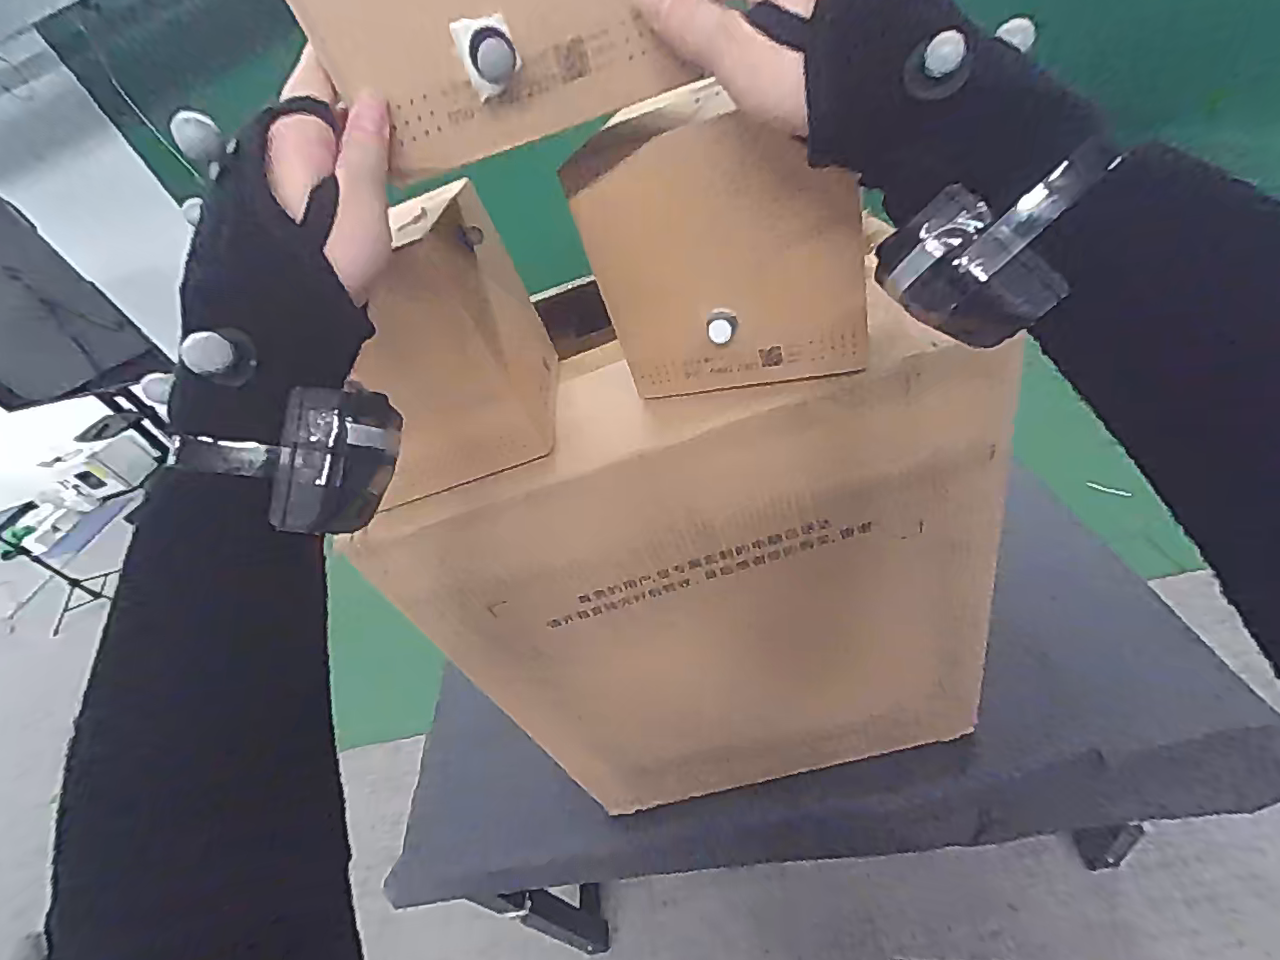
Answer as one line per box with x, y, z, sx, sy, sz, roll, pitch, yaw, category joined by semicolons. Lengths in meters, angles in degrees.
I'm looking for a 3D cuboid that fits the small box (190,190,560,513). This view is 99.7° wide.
-0.183;-0.099;0.437;0.179;0.176;0.168;-19;39;9;small box

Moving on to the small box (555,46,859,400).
0.067;-0.181;0.401;0.168;0.176;0.179;-4;42;23;small box

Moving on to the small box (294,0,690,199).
-0.085;-0.274;0.281;0.168;0.176;0.179;-20;45;2;small box
